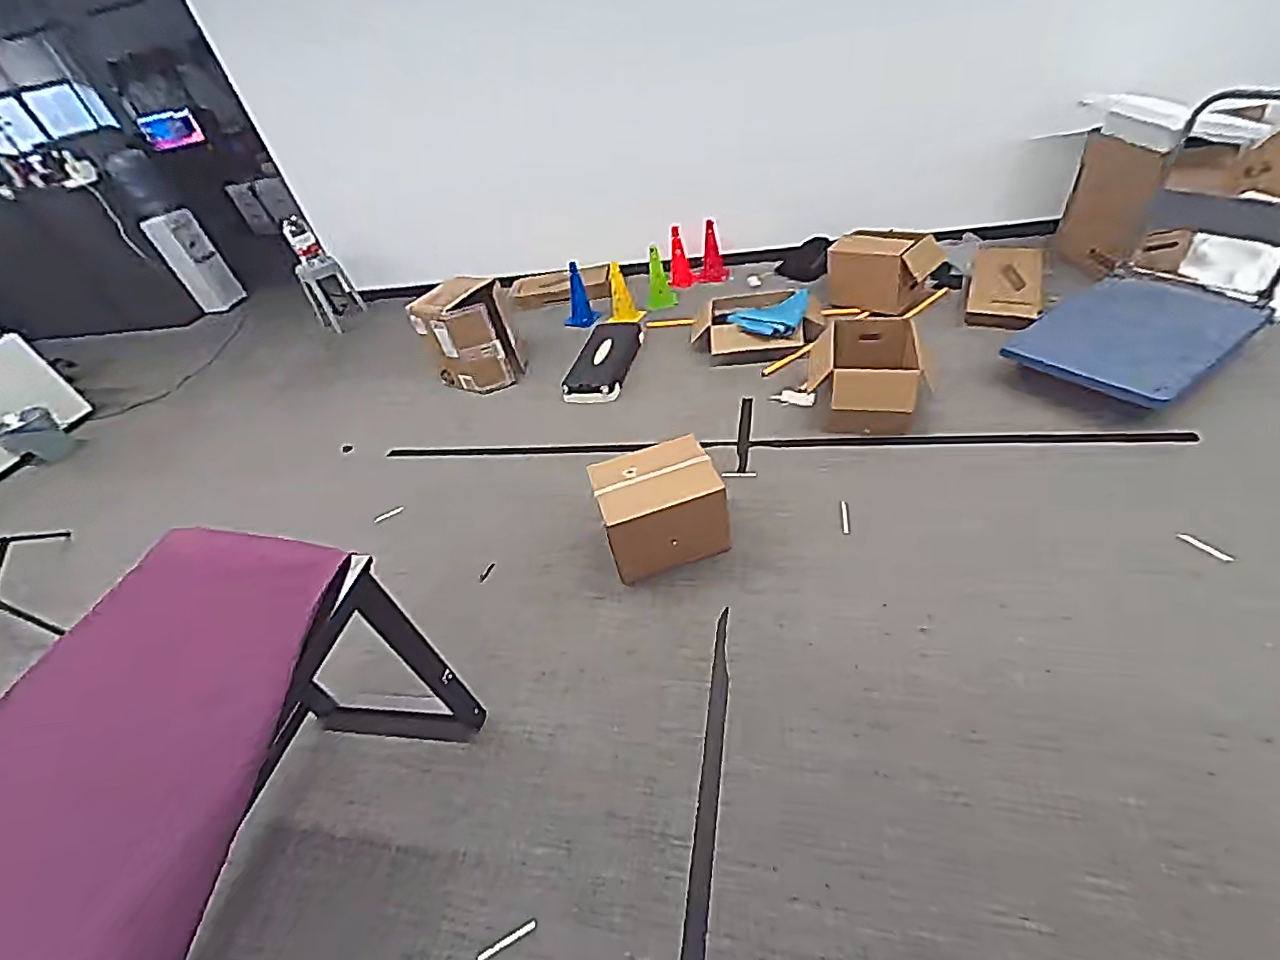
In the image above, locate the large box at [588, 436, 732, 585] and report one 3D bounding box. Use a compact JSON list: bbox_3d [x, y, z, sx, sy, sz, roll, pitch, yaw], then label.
[{"bbox_3d":[0.072,0.105,1.898,0.408,0.320,0.320,-19,41,-5],"label":"large box"}]
